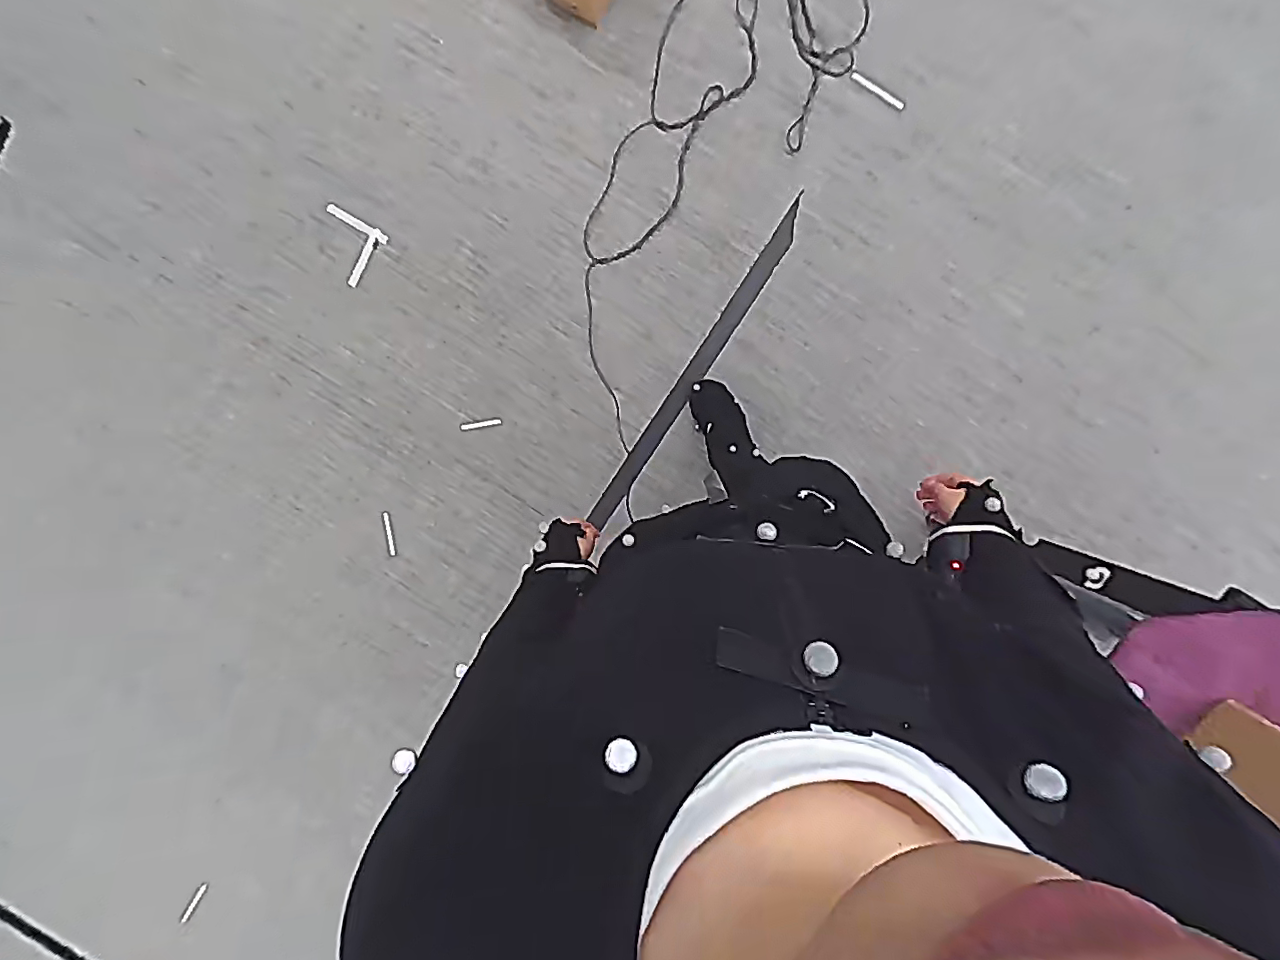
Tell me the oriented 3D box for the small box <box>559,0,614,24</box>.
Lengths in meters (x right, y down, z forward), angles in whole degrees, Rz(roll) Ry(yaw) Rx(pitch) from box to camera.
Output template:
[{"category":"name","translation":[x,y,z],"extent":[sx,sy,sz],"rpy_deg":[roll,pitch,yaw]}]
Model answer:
[{"category":"small box","translation":[-0.124,-1.154,1.167],"extent":[0.168,0.176,0.179],"rpy_deg":[31,98,0]}]
